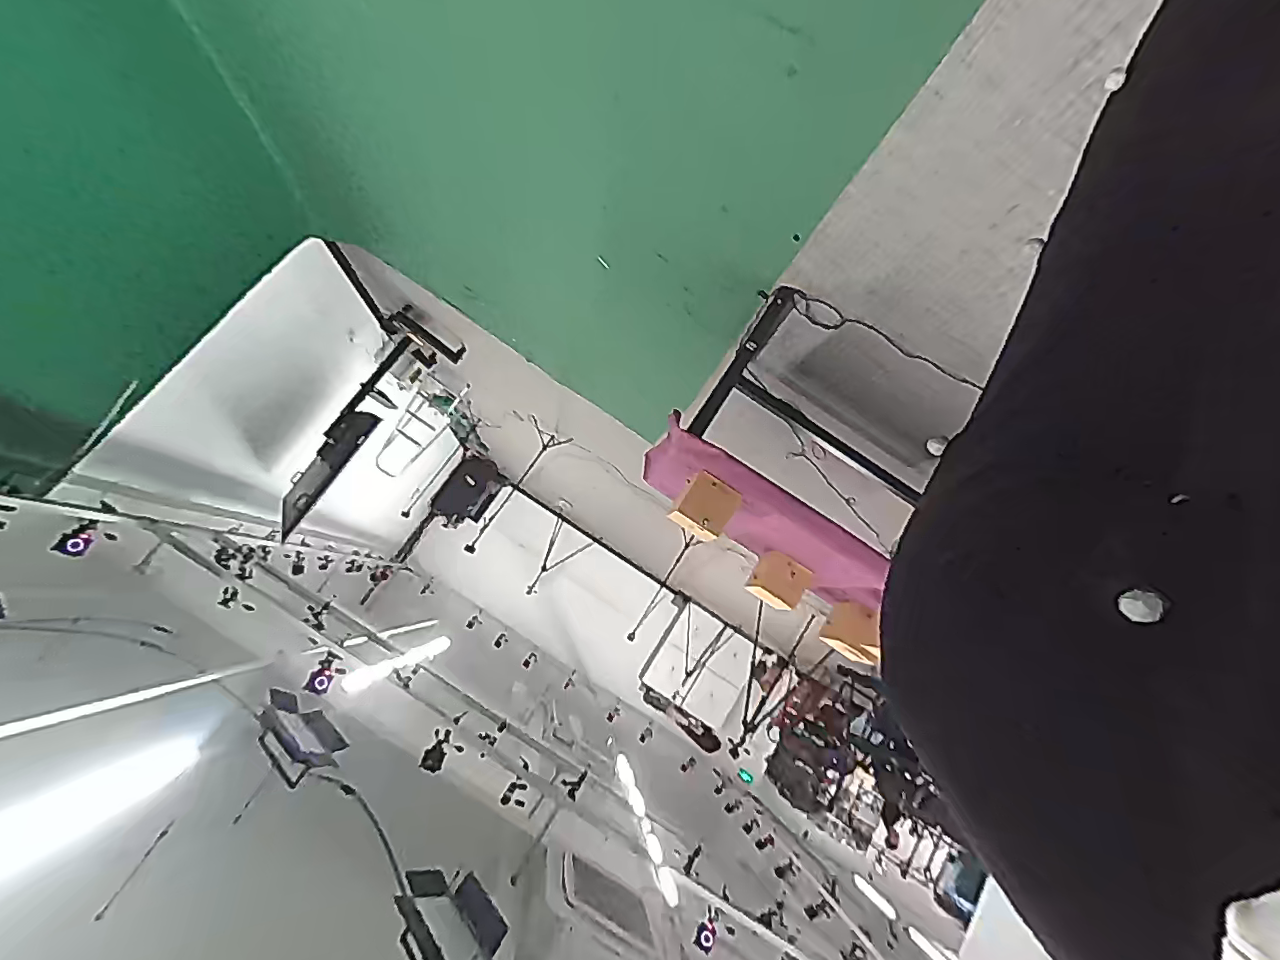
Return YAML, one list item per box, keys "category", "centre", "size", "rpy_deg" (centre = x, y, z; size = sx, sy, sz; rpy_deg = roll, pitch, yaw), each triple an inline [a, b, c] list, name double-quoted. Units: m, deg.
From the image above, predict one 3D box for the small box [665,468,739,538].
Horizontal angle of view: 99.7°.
- category: "small box"
  centre: [0.209, 0.080, 1.816]
  size: [0.168, 0.176, 0.179]
  rpy_deg: [33, 168, -3]

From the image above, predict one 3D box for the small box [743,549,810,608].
- category: "small box"
  centre: [0.538, 0.386, 2.127]
  size: [0.168, 0.176, 0.179]
  rpy_deg: [34, 165, -1]

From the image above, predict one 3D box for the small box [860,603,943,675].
- category: "small box"
  centre: [0.890, 0.531, 1.831]
  size: [0.168, 0.176, 0.179]
  rpy_deg: [34, 166, -1]
